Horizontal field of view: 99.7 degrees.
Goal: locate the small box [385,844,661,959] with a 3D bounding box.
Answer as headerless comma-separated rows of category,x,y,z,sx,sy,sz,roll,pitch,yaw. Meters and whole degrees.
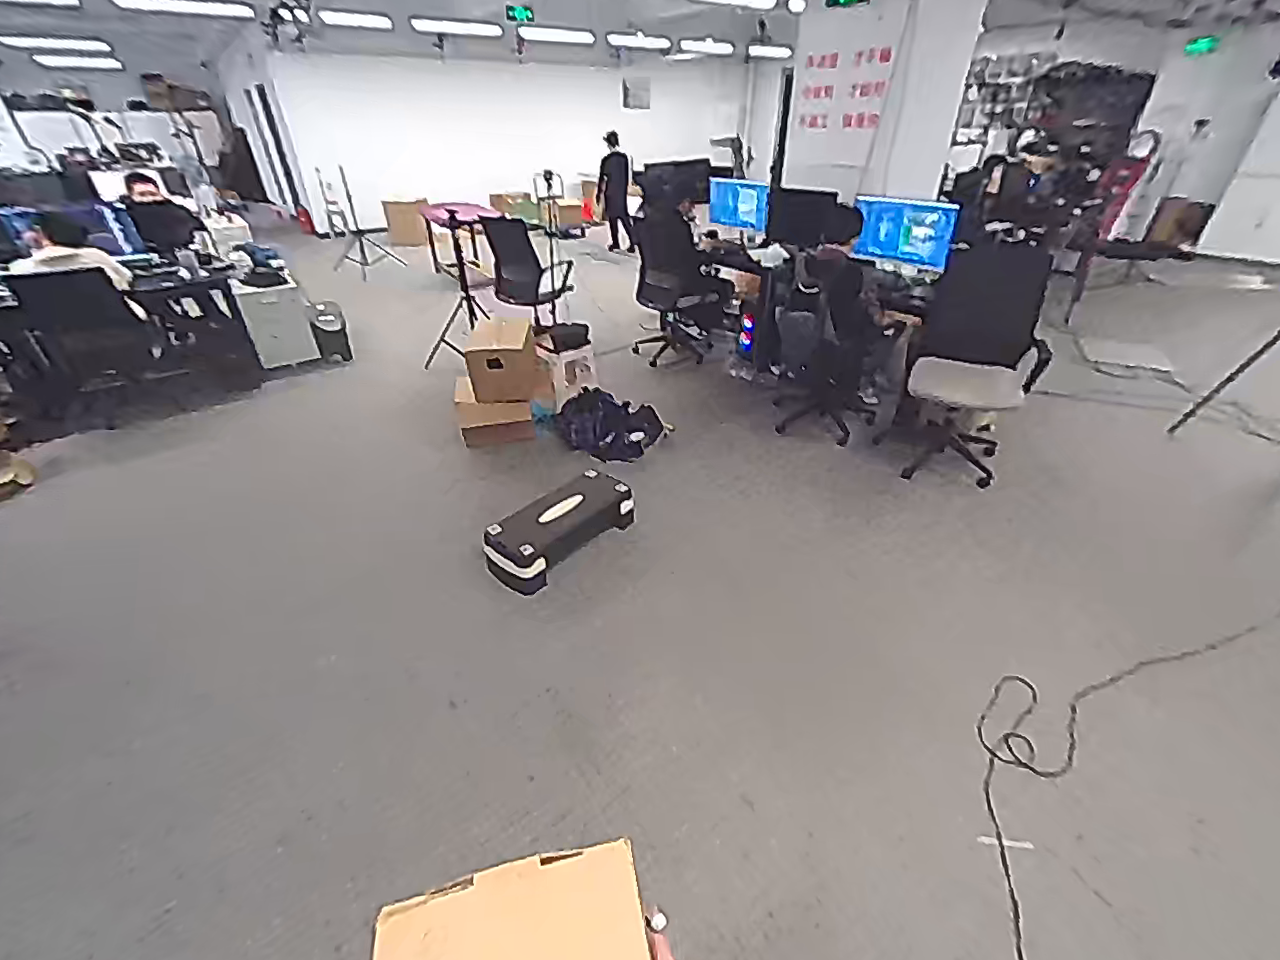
small box,-0.060,0.375,0.355,0.168,0.176,0.179,-11,48,-8
